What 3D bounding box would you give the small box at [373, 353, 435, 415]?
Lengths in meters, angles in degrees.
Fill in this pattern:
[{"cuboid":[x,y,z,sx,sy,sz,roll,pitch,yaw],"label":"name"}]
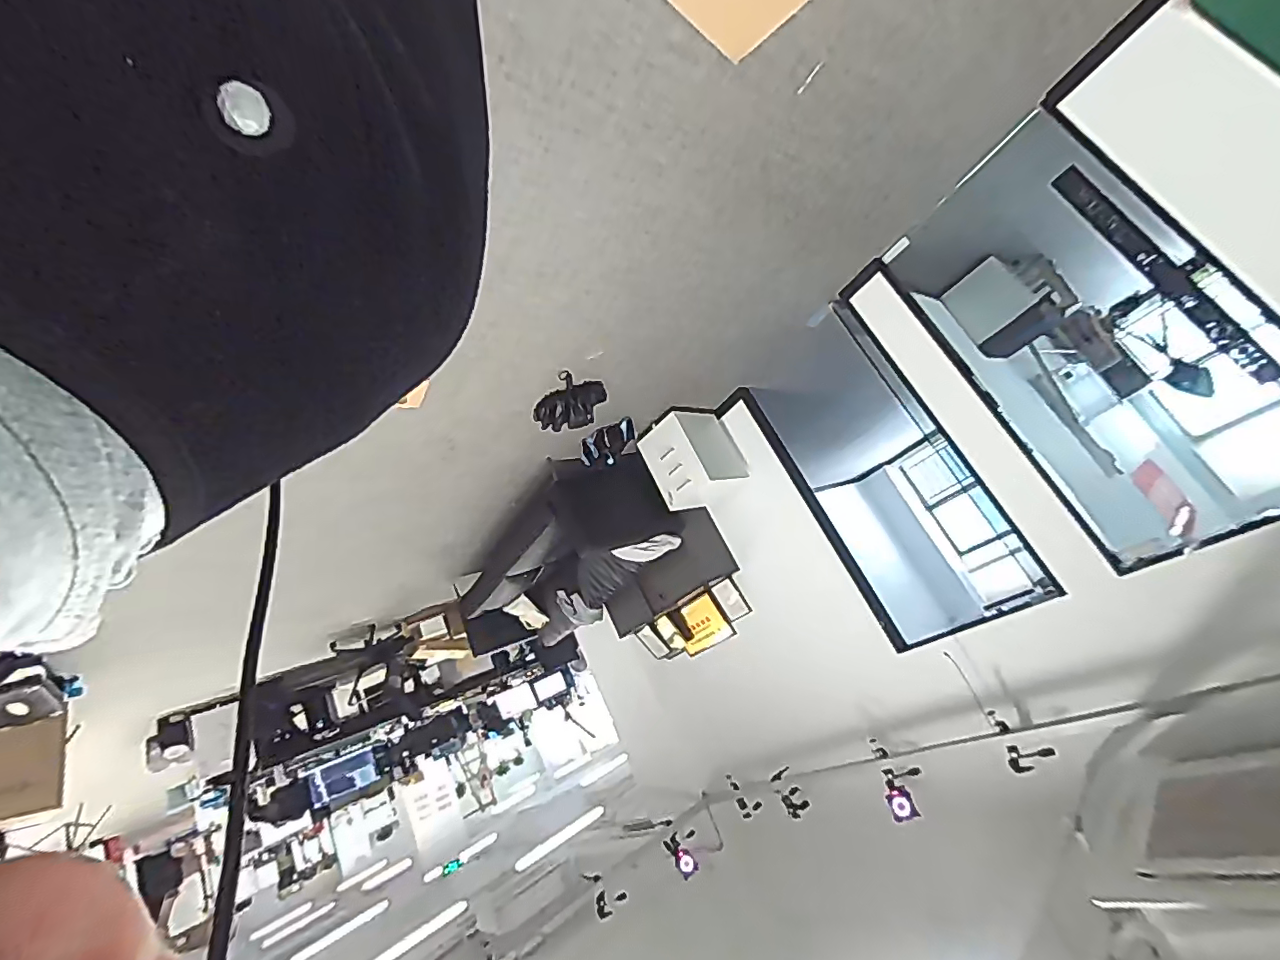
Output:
[{"cuboid":[-0.938,-0.377,2.133,0.168,0.176,0.179,-10,155,-42],"label":"small box"}]
